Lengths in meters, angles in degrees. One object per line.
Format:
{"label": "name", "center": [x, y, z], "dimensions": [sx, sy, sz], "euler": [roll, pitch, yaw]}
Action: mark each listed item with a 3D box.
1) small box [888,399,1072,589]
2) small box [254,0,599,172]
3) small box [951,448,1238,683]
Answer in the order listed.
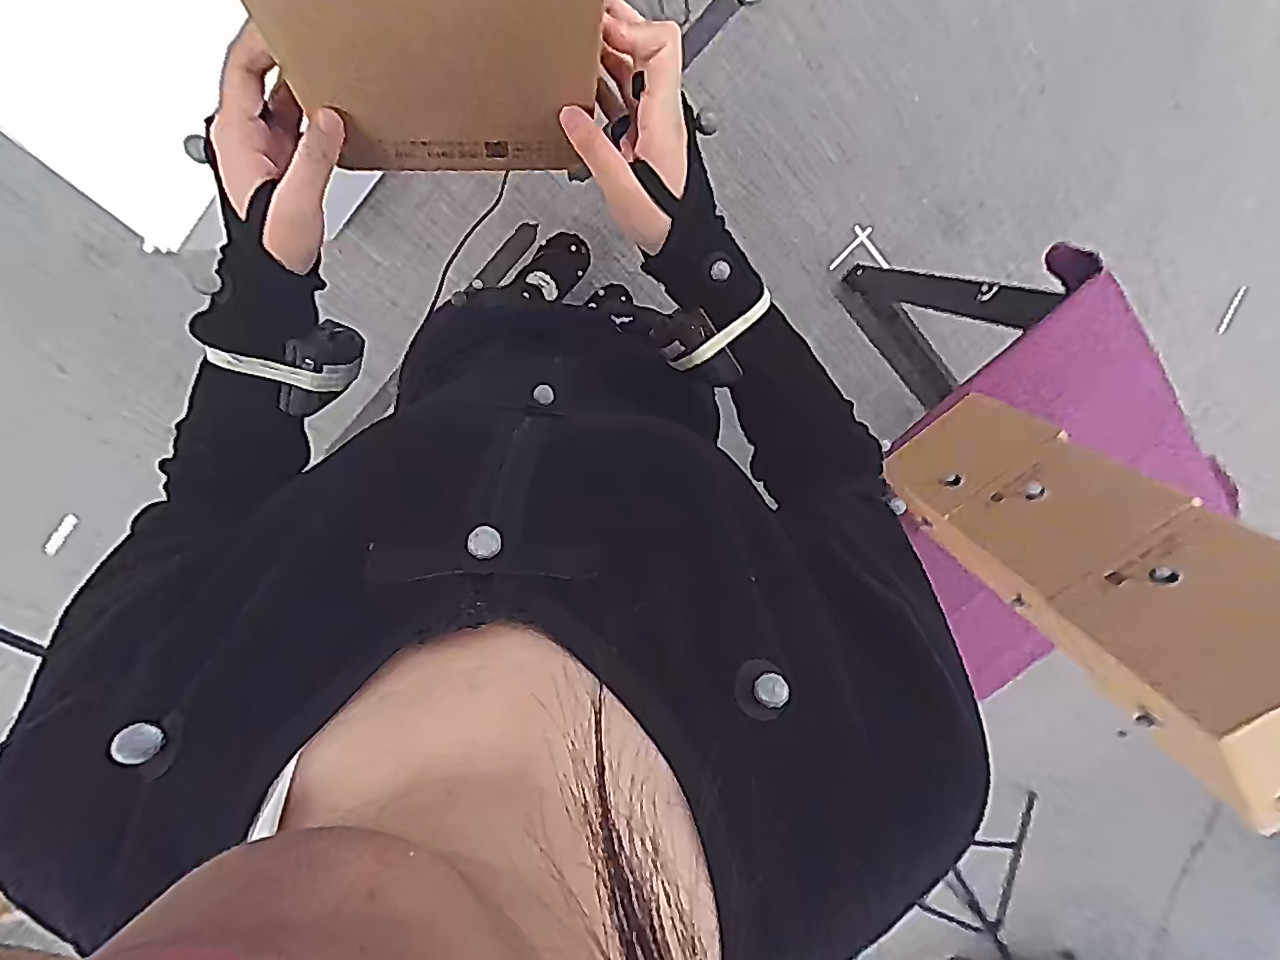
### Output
{"label": "small box", "center": [0.490, 0.013, 0.777], "dimensions": [0.179, 0.176, 0.168], "euler": [-40, 114, 11]}
{"label": "small box", "center": [-0.116, -0.302, 0.290], "dimensions": [0.168, 0.176, 0.179], "euler": [-7, 84, -10]}
{"label": "small box", "center": [0.515, 0.091, 0.634], "dimensions": [0.168, 0.176, 0.179], "euler": [-41, 113, 11]}
